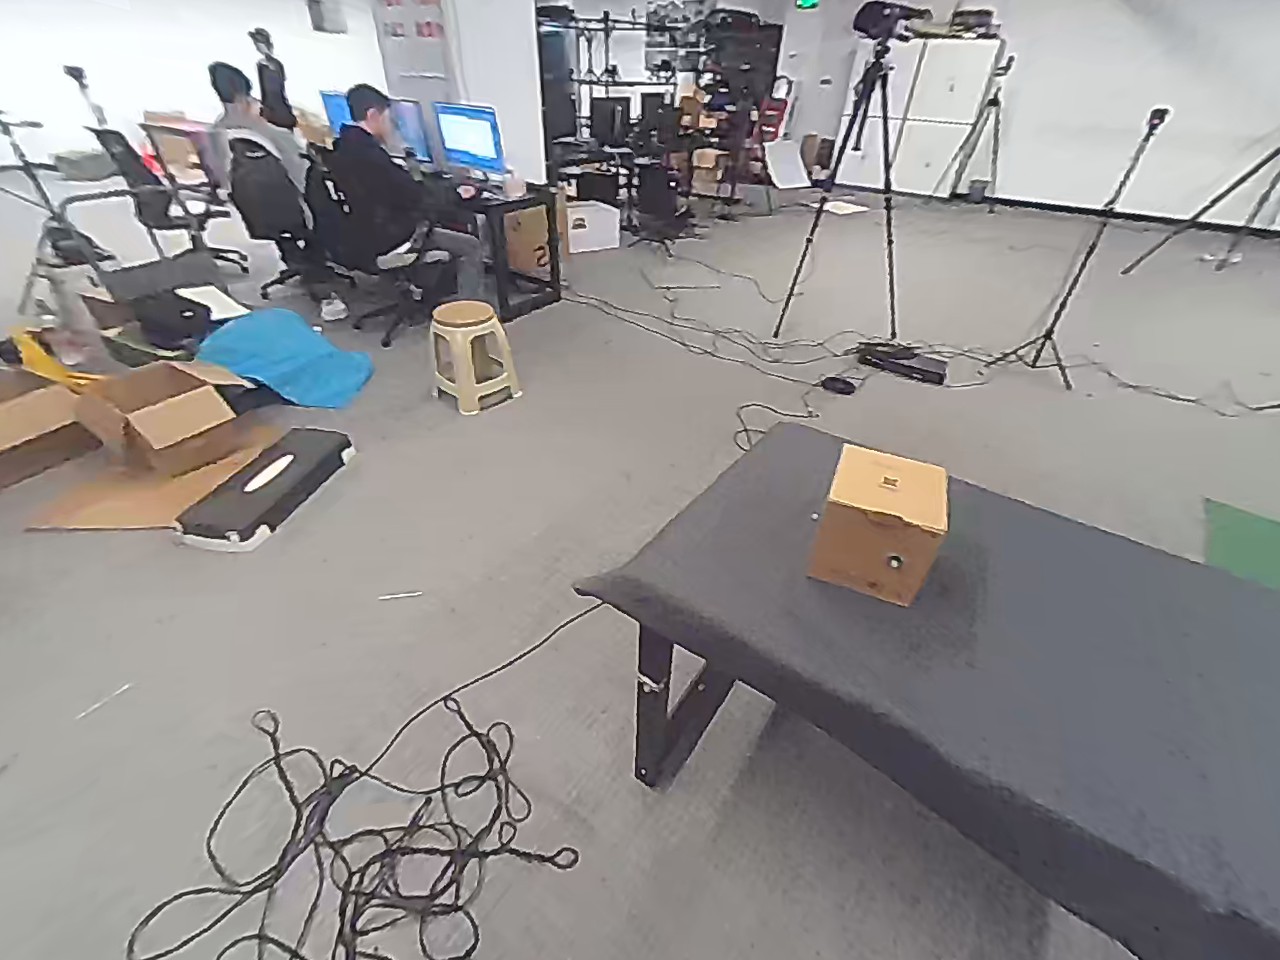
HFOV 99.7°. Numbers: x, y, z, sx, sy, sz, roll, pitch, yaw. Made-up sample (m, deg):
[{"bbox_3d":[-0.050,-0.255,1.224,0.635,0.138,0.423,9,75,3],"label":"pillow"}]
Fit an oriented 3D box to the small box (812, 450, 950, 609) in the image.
[{"bbox_3d":[0.393,0.080,0.892,0.168,0.176,0.179,17,38,18],"label":"small box"}]
